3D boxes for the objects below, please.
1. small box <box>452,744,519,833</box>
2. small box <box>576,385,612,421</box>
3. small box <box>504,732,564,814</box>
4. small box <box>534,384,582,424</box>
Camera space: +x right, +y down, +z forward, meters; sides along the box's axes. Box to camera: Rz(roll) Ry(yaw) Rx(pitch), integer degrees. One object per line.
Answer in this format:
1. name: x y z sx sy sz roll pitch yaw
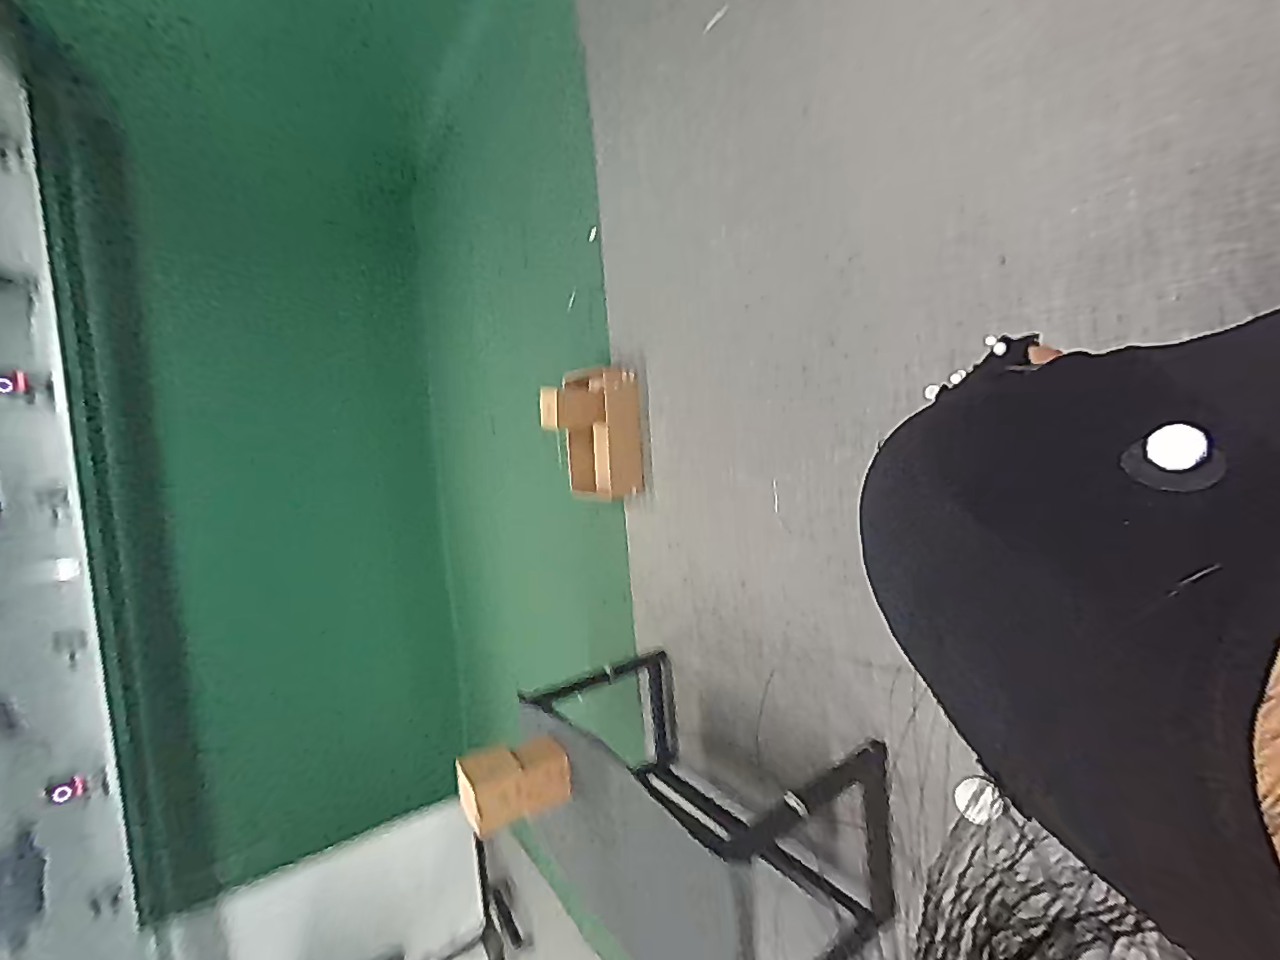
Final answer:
1. small box: -0.515 1.023 1.817 0.179 0.176 0.168 11 105 52
2. small box: -0.256 -0.380 2.650 0.179 0.176 0.168 13 107 50
3. small box: -0.375 1.022 1.905 0.179 0.176 0.168 6 101 54
4. small box: -0.384 -0.362 2.548 0.168 0.176 0.179 15 108 51
